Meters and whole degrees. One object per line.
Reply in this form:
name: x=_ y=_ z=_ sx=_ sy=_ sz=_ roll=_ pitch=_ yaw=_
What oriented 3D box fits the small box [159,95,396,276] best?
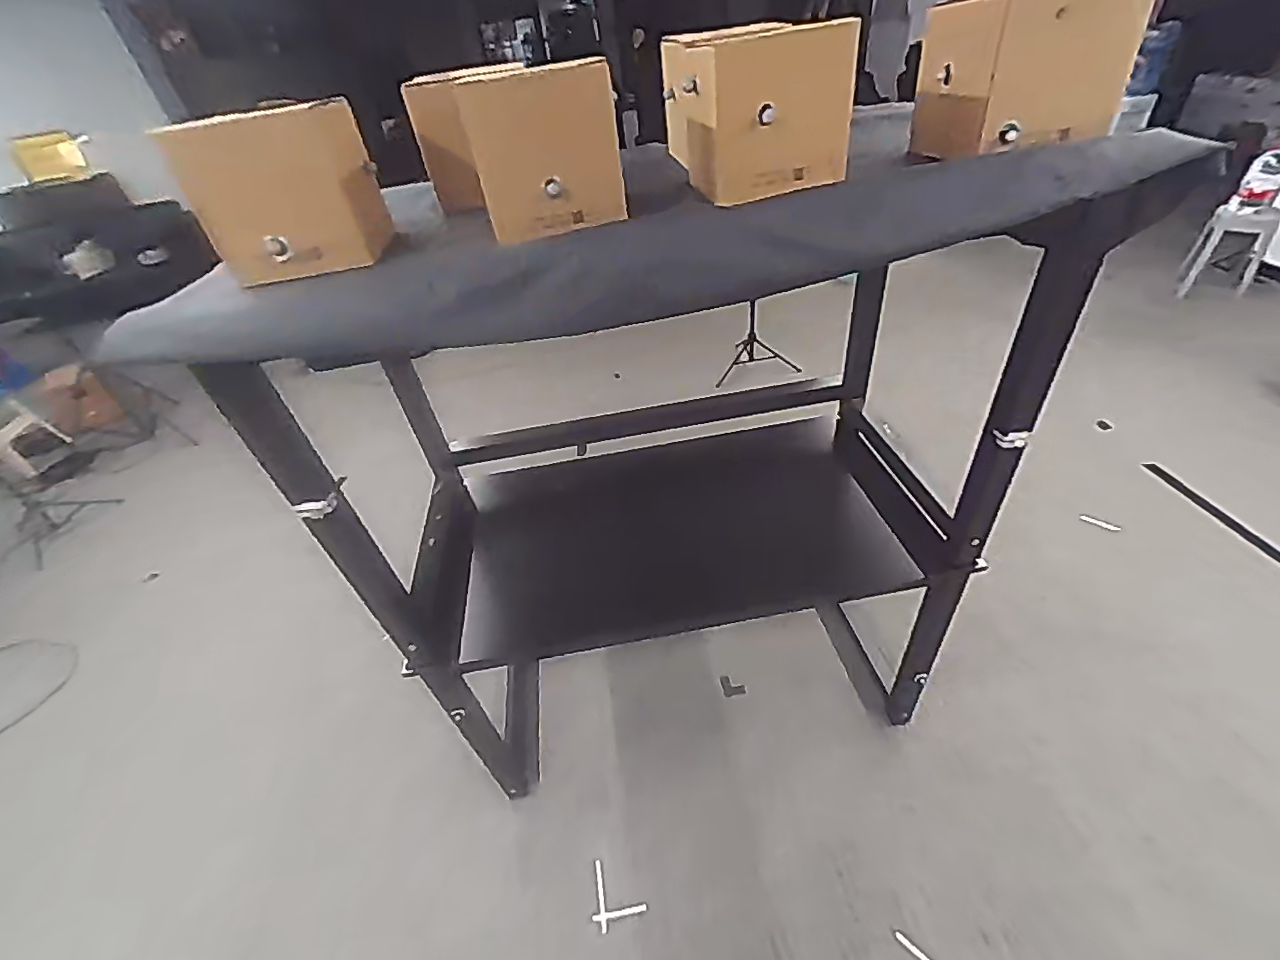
small box: x=-0.430 y=-0.372 z=0.683 sx=0.168 sy=0.176 sz=0.179 roll=-12 pitch=38 yaw=-4

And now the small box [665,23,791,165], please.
small box: x=0.140 y=-0.635 z=0.897 sx=0.168 sy=0.176 sz=0.179 roll=-11 pitch=39 yaw=-2

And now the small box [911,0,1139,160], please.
small box: x=0.472 y=-0.517 z=0.686 sx=0.168 sy=0.176 sz=0.179 roll=-9 pitch=36 yaw=1

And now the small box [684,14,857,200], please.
small box: x=0.159 y=-0.475 z=0.700 sx=0.168 sy=0.176 sz=0.179 roll=-10 pitch=37 yaw=-2
